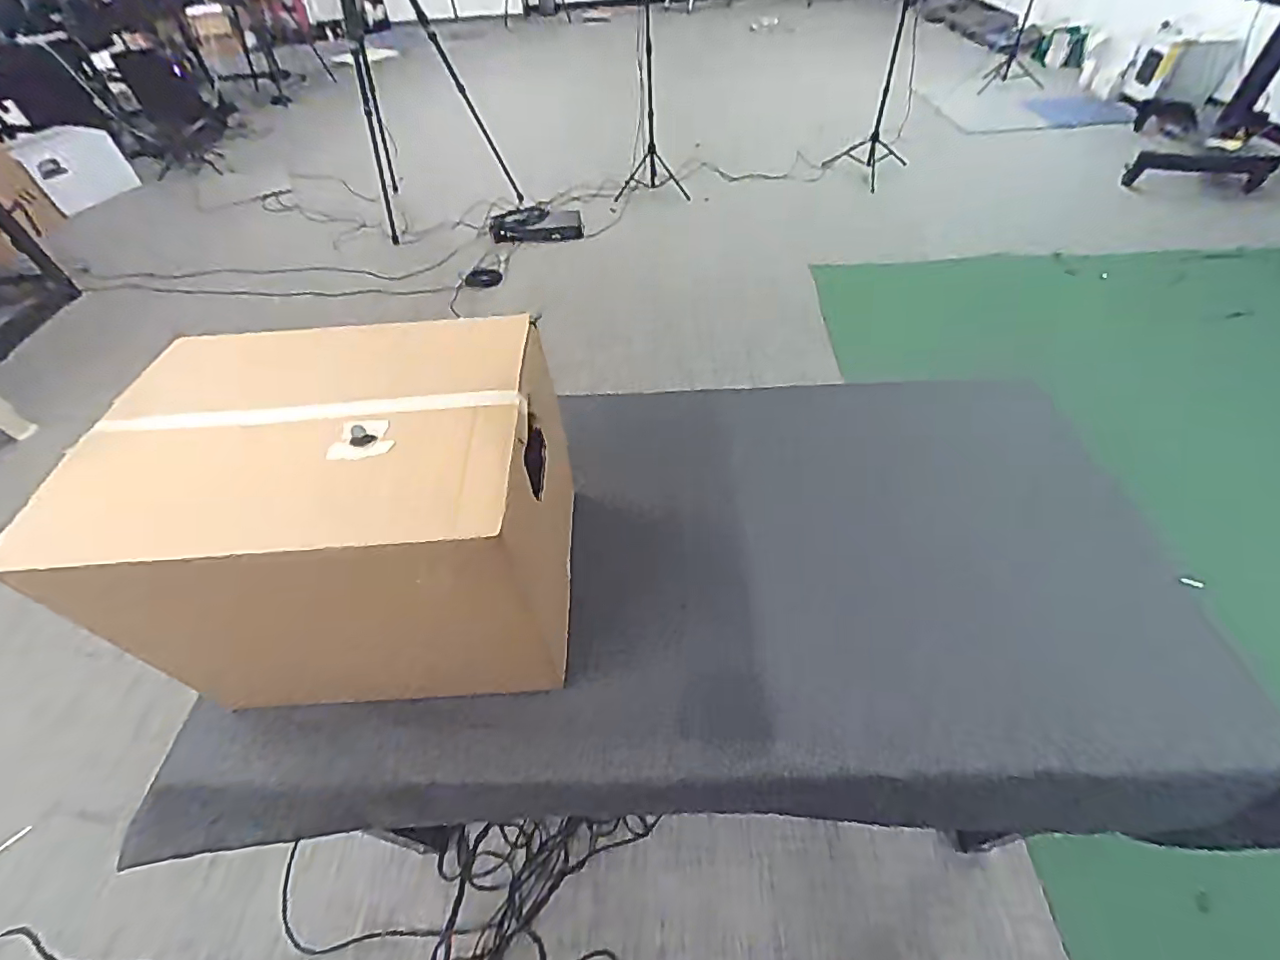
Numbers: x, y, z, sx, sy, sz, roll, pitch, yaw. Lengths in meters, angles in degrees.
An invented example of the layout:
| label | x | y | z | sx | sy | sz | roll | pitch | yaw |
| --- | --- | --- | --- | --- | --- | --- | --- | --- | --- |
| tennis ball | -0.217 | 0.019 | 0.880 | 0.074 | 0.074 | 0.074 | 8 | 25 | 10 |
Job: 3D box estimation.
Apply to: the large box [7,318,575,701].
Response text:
| label | x | y | z | sx | sy | sz | roll | pitch | yaw |
| --- | --- | --- | --- | --- | --- | --- | --- | --- | --- |
| large box | -0.296 | 0.037 | 0.627 | 0.408 | 0.320 | 0.320 | -3 | 49 | -1 |
